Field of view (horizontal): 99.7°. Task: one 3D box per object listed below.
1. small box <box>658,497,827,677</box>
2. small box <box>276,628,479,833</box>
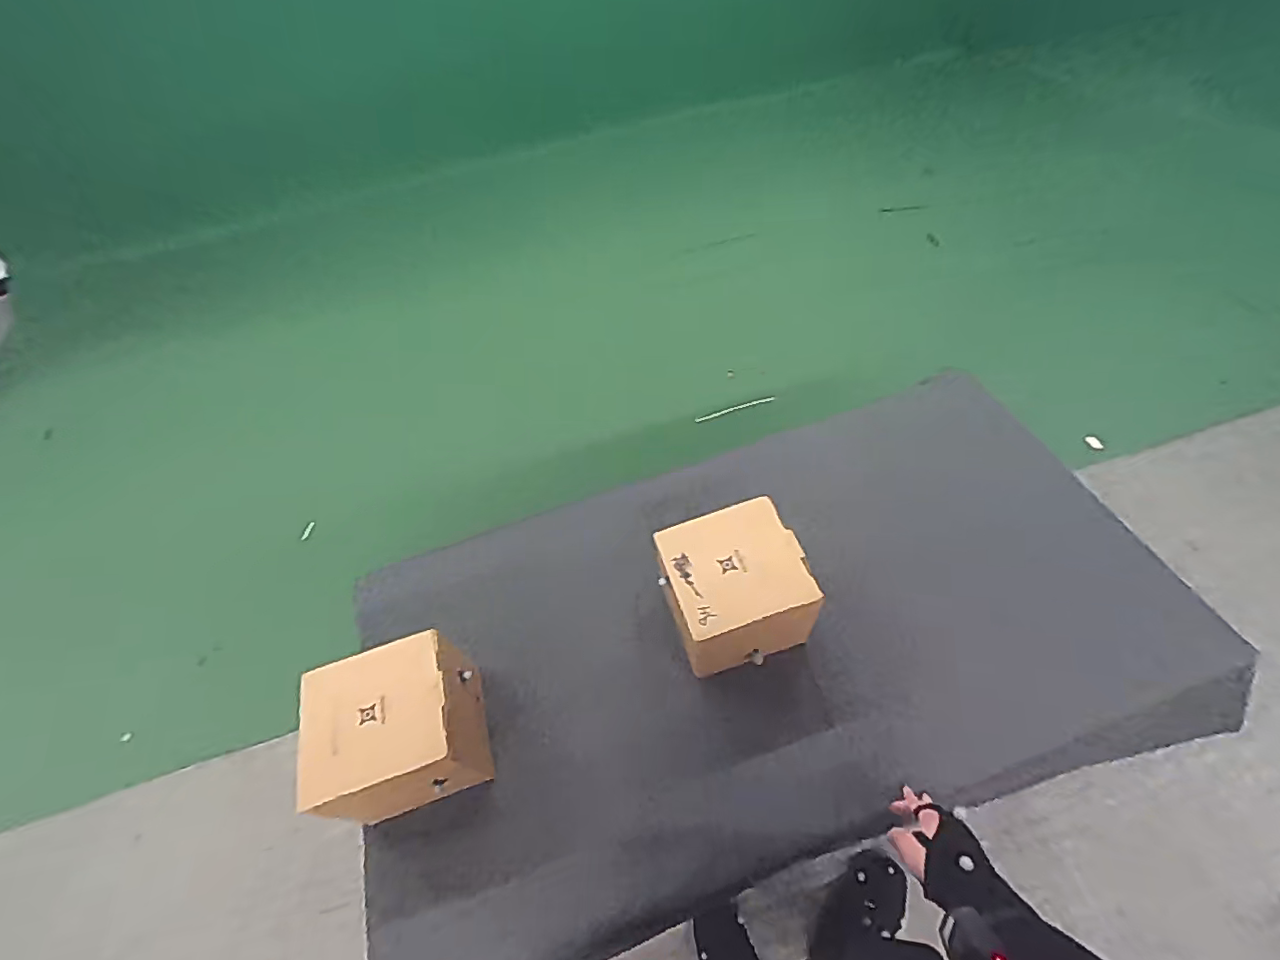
[{"bbox_3d":[0.131,0.154,0.765,0.179,0.176,0.168,-16,54,-8],"label":"small box"},{"bbox_3d":[-0.314,0.317,0.679,0.179,0.176,0.168,-19,53,-8],"label":"small box"}]
